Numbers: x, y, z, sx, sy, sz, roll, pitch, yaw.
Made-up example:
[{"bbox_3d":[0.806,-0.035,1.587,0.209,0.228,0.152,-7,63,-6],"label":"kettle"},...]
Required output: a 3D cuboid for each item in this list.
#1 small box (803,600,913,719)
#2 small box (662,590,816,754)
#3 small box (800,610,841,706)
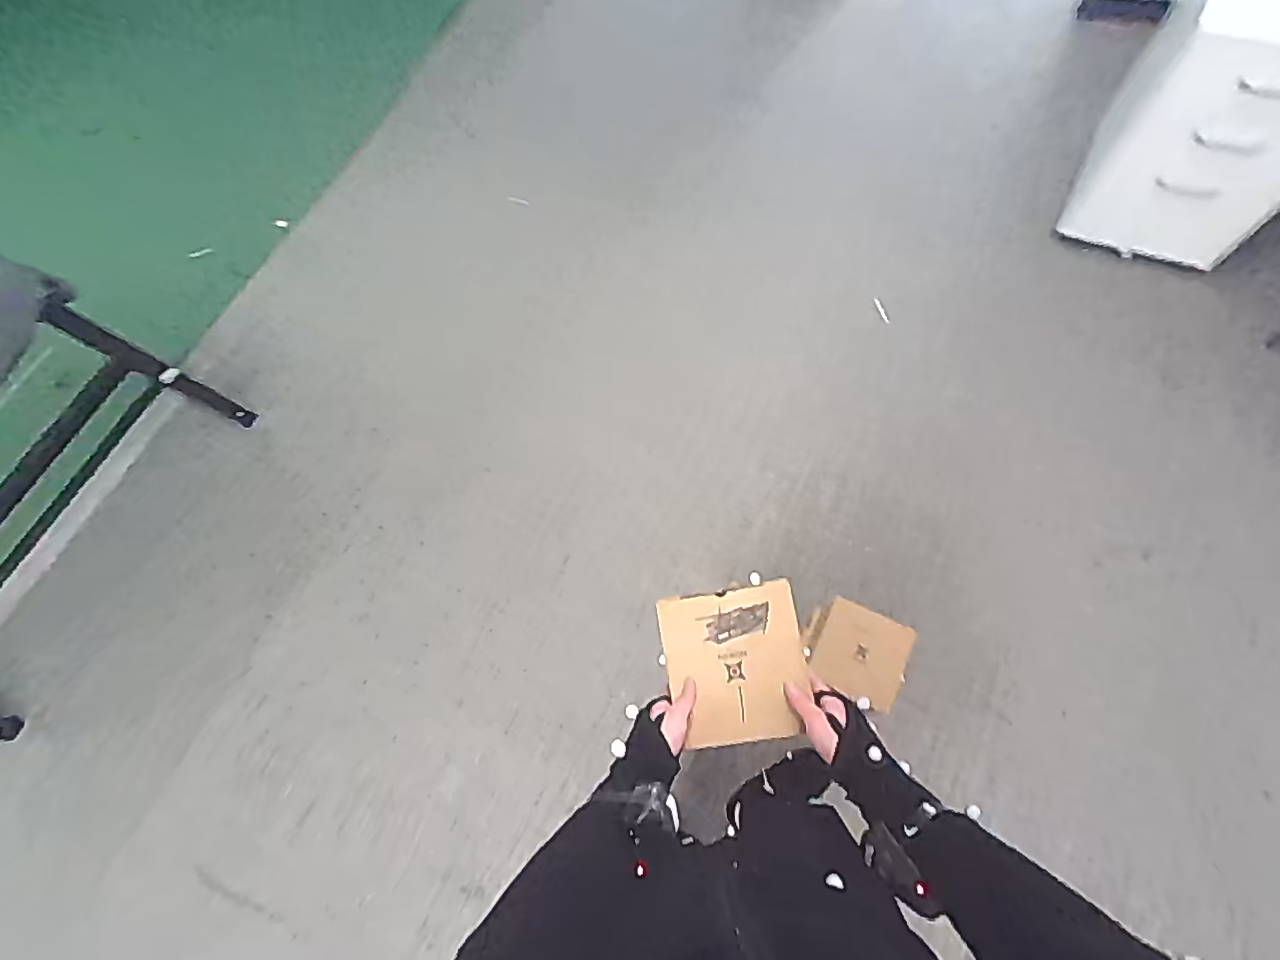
[{"bbox_3d":[0.440,0.380,1.141,0.168,0.176,0.179,24,72,14],"label":"small box"},{"bbox_3d":[0.124,0.242,0.715,0.168,0.176,0.179,-7,78,7],"label":"small box"},{"bbox_3d":[0.458,0.439,1.313,0.179,0.176,0.168,23,72,14],"label":"small box"}]
